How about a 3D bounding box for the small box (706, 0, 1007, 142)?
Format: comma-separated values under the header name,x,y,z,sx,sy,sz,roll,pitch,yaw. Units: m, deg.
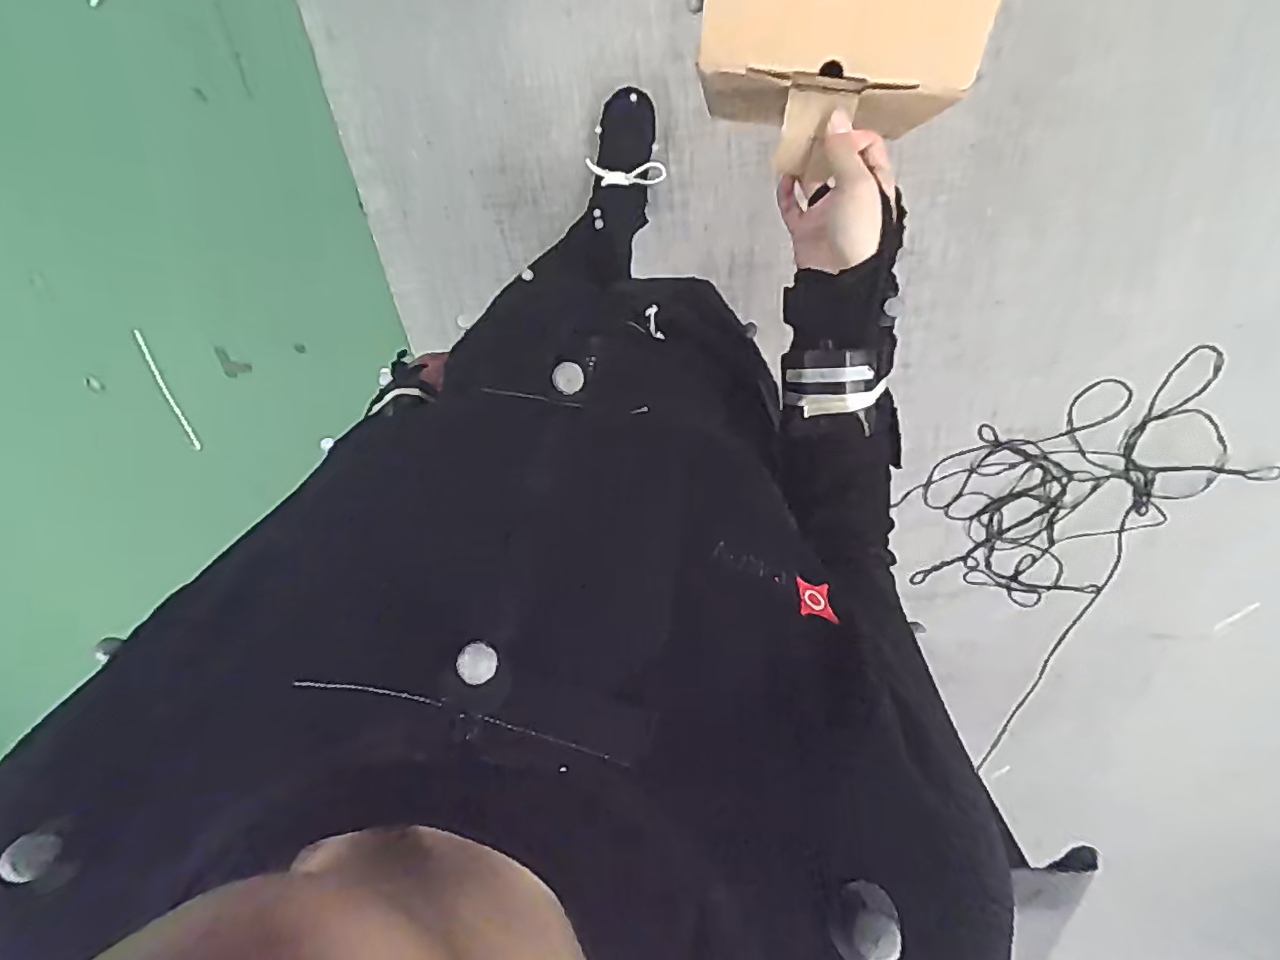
name,x,y,z,sx,sy,sz,roll,pitch,yaw
small box,0.143,-0.350,0.363,0.168,0.176,0.179,11,116,6
